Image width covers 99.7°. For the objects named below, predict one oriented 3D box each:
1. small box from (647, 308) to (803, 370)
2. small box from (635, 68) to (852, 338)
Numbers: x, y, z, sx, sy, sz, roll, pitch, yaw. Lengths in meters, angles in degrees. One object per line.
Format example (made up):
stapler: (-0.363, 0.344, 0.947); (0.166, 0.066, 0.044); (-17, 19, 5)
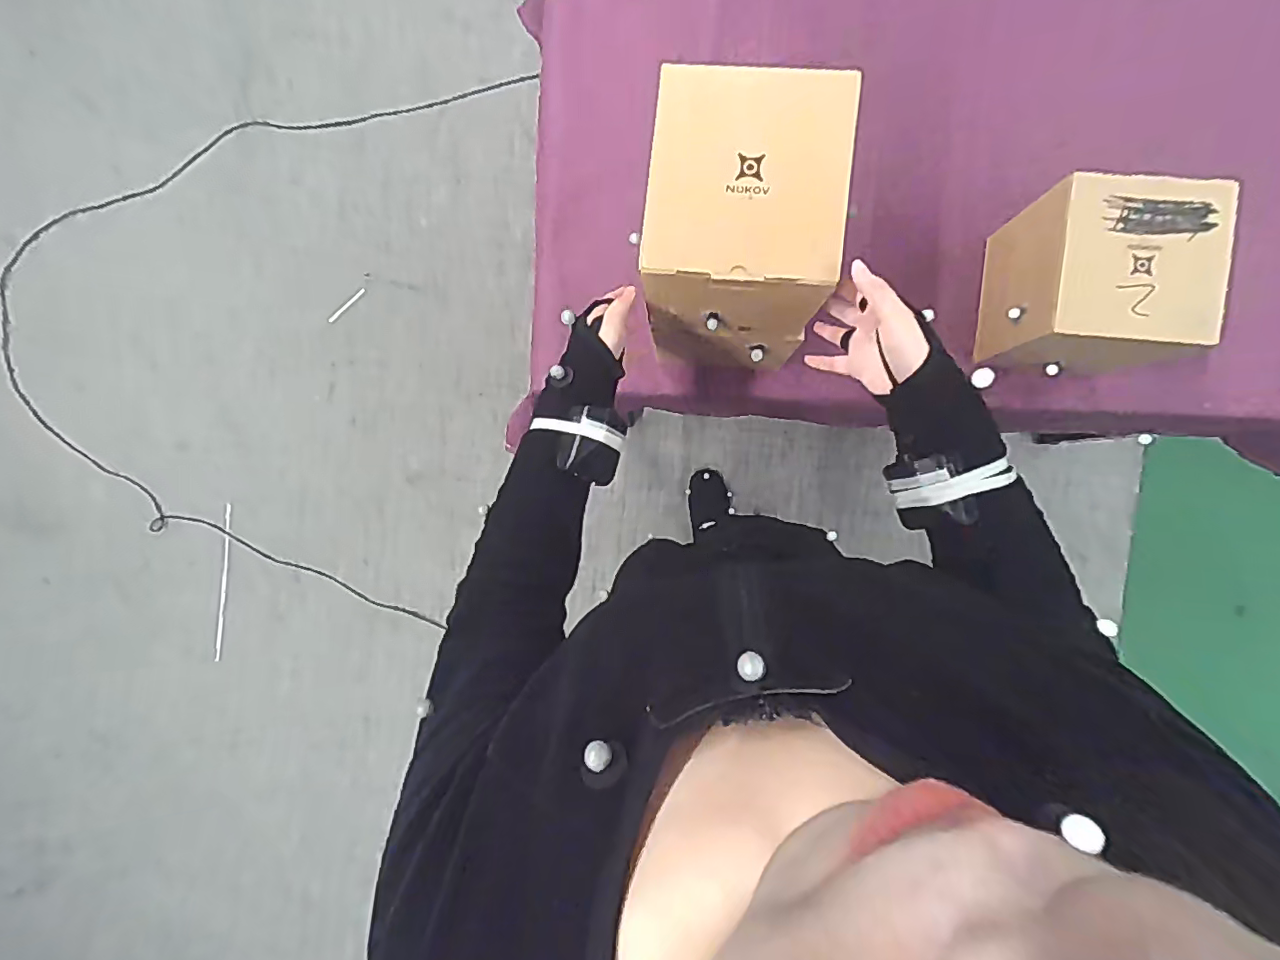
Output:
small box: (0.109, -0.241, 0.689); (0.179, 0.176, 0.168); (5, 90, 6)
small box: (0.091, -0.252, 0.527); (0.168, 0.176, 0.179); (6, 91, 5)
